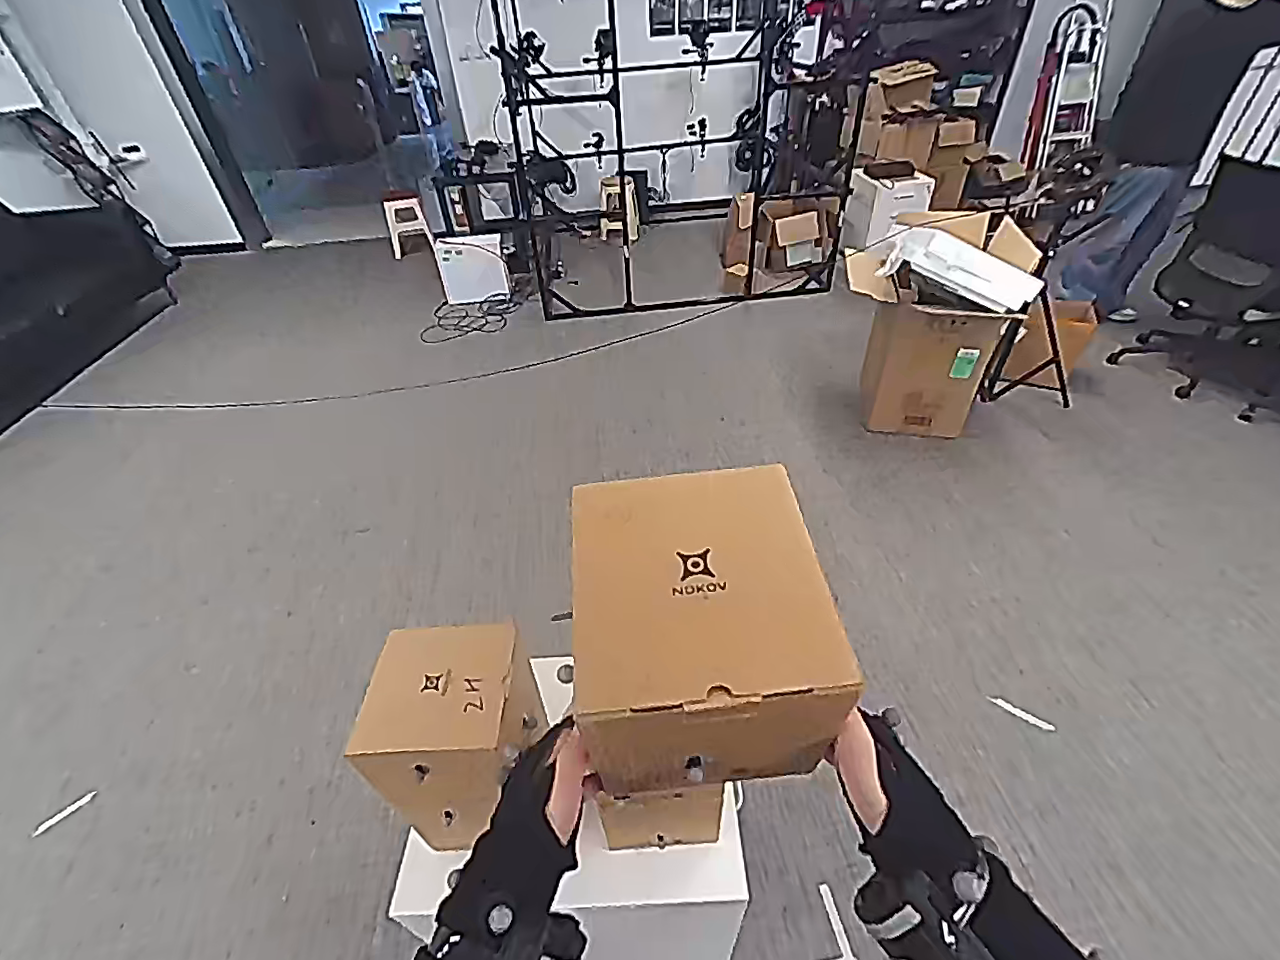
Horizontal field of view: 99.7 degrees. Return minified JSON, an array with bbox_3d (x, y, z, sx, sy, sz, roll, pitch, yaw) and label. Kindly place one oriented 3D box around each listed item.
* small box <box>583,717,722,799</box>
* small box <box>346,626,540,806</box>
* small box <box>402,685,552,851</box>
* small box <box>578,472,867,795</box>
[{"bbox_3d":[0.019,0.300,0.713,0.168,0.176,0.179,-4,40,0],"label":"small box"},{"bbox_3d":[-0.242,0.313,0.715,0.179,0.176,0.168,-3,41,1],"label":"small box"},{"bbox_3d":[-0.234,0.437,0.825,0.168,0.176,0.179,-3,39,2],"label":"small box"},{"bbox_3d":[0.042,0.117,0.415,0.168,0.176,0.179,-6,48,-2],"label":"small box"}]
